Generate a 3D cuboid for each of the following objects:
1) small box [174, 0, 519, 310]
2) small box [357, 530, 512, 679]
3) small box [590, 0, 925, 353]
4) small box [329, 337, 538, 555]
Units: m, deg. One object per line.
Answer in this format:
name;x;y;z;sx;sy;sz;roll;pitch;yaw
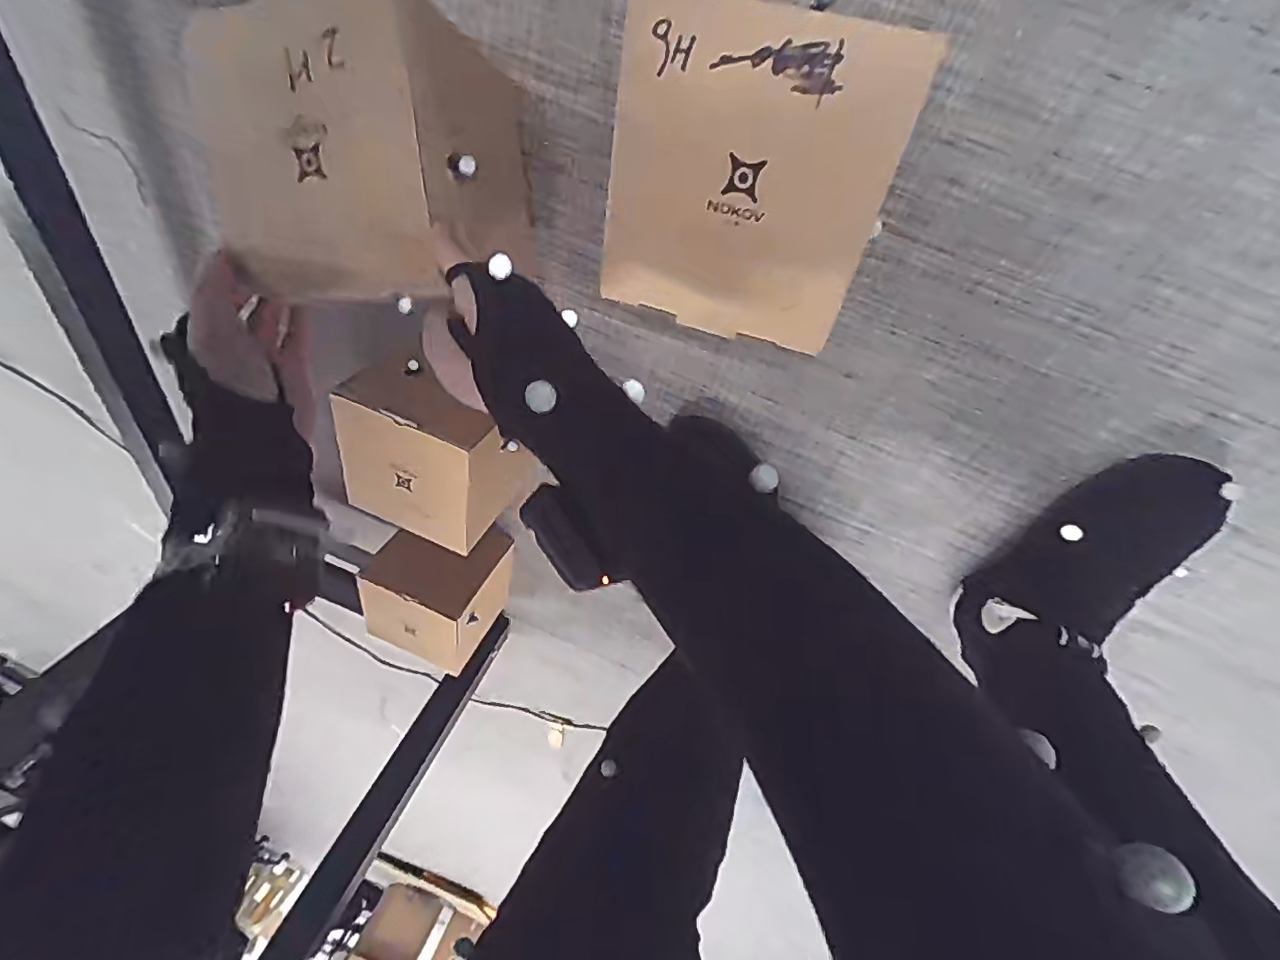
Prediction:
small box;-0.207;-0.232;0.435;0.168;0.176;0.179;0;103;10
small box;-0.321;0.180;0.877;0.168;0.176;0.179;22;131;6
small box;0.076;-0.224;0.385;0.168;0.176;0.179;18;132;7
small box;-0.238;-0.048;0.660;0.168;0.176;0.179;23;132;6
